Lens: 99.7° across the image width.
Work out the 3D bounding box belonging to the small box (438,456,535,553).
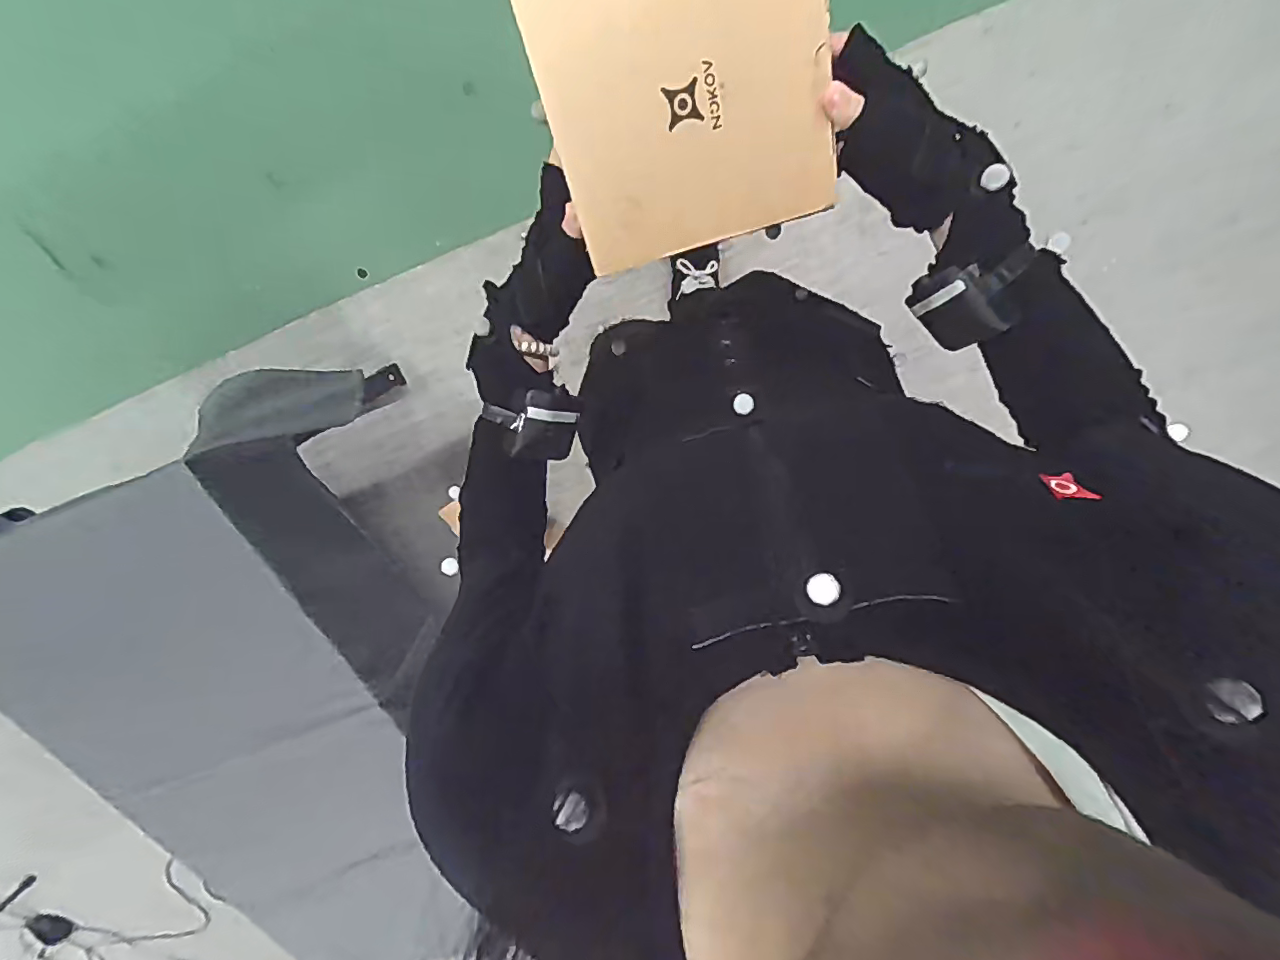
[{"bbox_3d":[-0.412,0.064,1.484,0.179,0.176,0.168,-31,111,13],"label":"small box"}]
